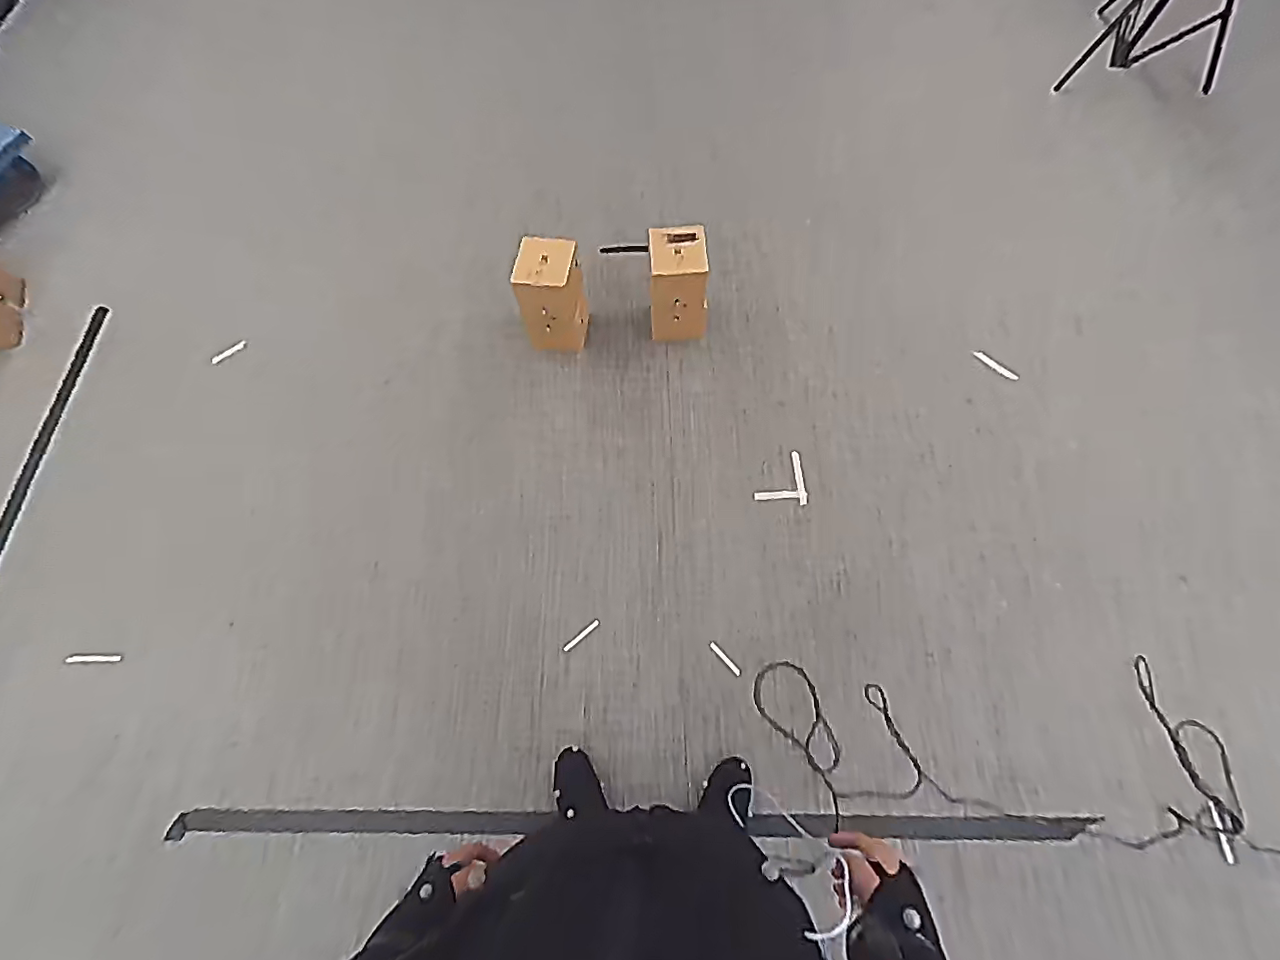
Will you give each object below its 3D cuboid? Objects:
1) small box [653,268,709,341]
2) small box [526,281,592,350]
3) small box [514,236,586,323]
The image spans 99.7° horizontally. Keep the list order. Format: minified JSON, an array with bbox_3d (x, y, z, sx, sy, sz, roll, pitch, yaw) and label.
[{"bbox_3d":[0.133,-0.581,1.804,0.179,0.176,0.168,-2,69,0],"label":"small box"},{"bbox_3d":[-0.262,-0.551,1.806,0.179,0.176,0.168,6,69,5],"label":"small box"},{"bbox_3d":[-0.267,-0.609,1.652,0.168,0.176,0.179,7,69,6],"label":"small box"}]
